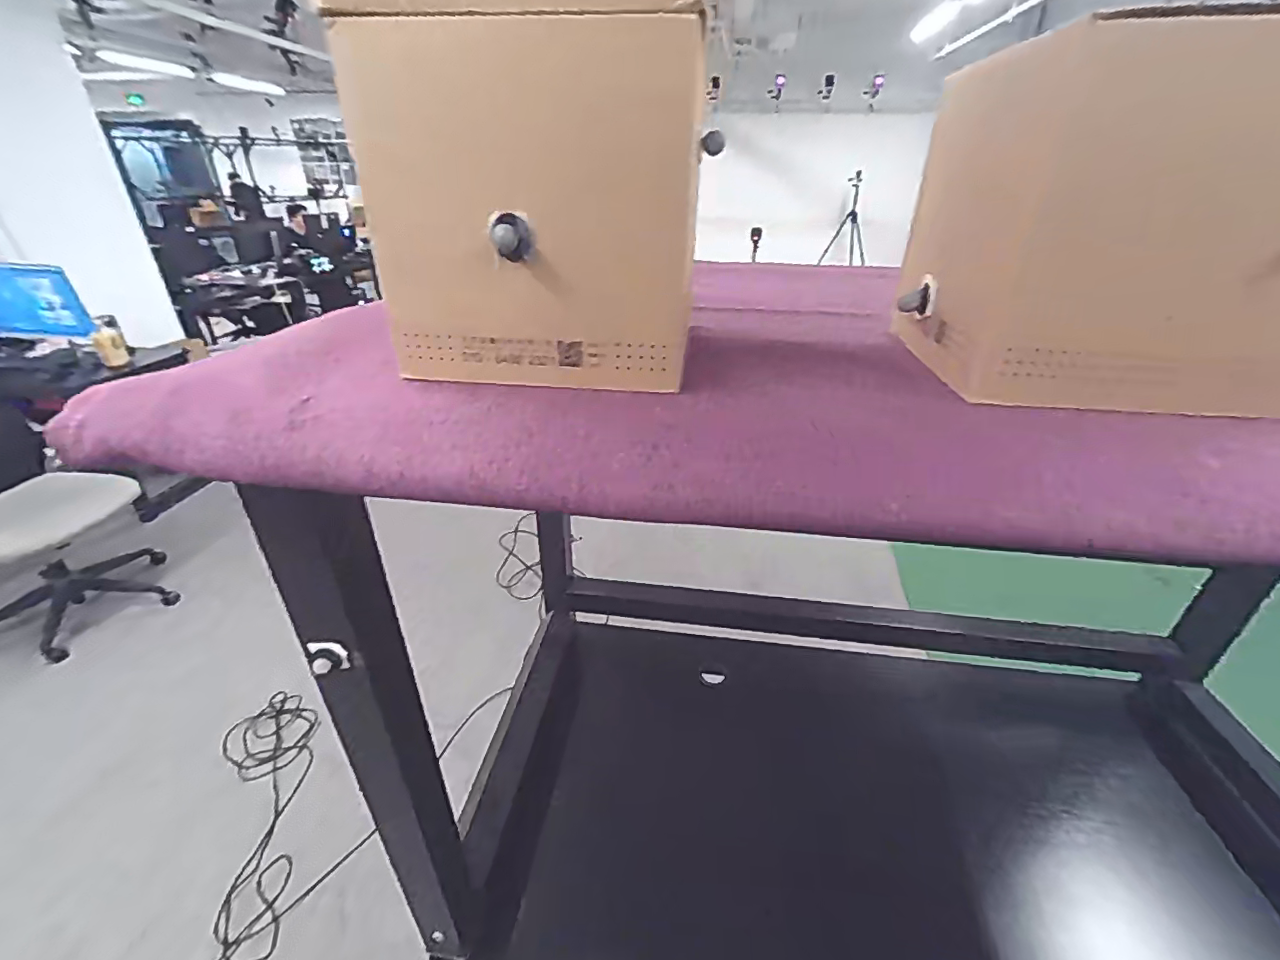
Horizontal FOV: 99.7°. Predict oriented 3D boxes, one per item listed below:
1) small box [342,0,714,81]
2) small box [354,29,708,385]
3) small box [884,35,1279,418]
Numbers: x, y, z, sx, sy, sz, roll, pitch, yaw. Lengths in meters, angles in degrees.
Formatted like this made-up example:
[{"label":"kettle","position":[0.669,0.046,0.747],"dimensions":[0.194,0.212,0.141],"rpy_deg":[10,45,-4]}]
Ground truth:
[{"label":"small box","position":[-0.047,-0.310,0.274],"dimensions":[0.179,0.176,0.168],"rpy_deg":[4,30,3]},{"label":"small box","position":[-0.045,-0.169,0.354],"dimensions":[0.168,0.176,0.179],"rpy_deg":[5,29,5]},{"label":"small box","position":[0.274,-0.144,0.328],"dimensions":[0.179,0.176,0.168],"rpy_deg":[3,28,6]}]
